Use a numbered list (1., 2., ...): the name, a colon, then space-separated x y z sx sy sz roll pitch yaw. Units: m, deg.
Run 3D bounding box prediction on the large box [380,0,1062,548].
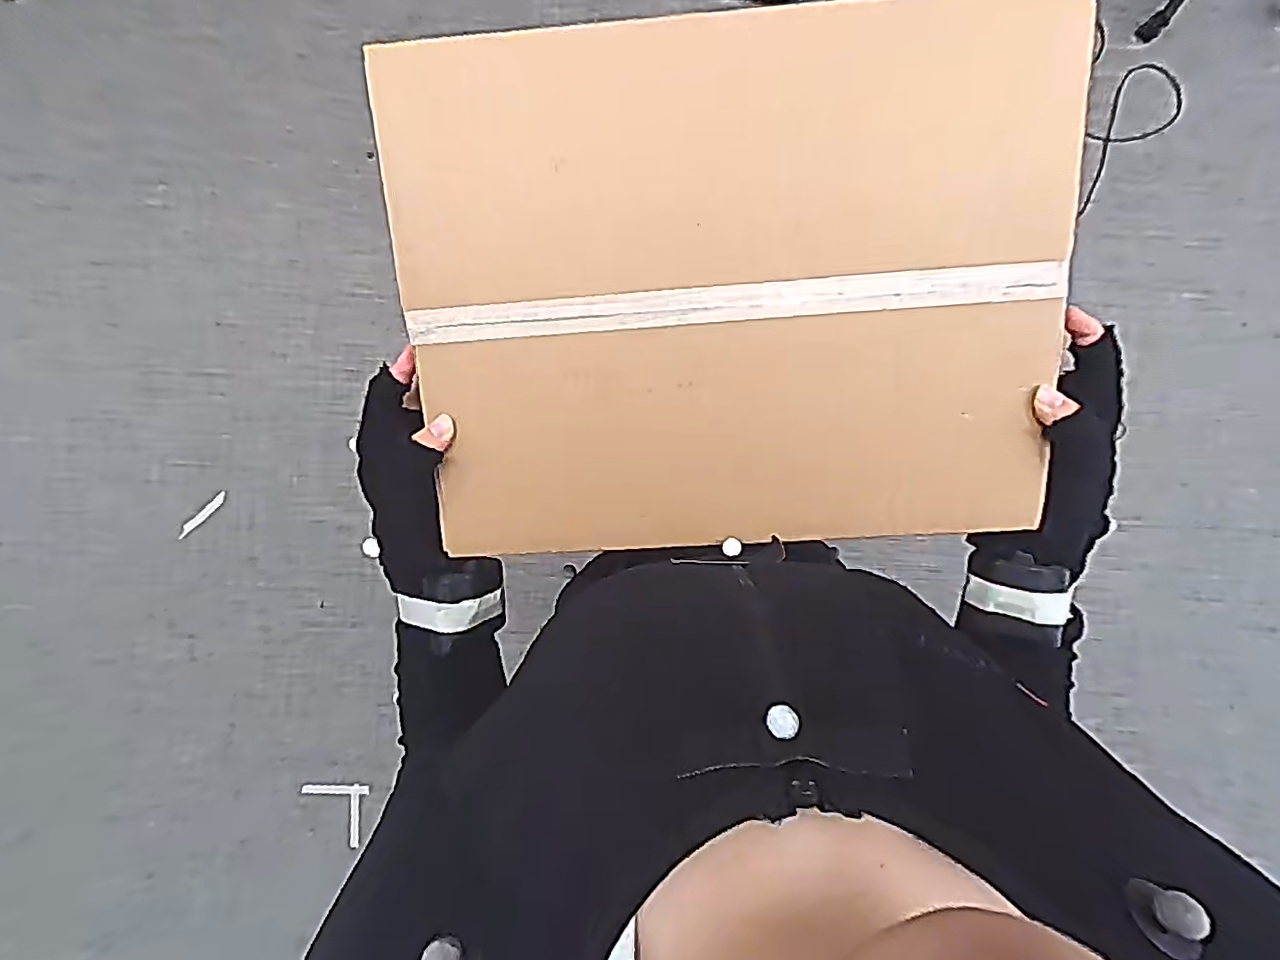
1. large box: 0.055 -0.146 0.490 0.408 0.320 0.320 -3 104 2
